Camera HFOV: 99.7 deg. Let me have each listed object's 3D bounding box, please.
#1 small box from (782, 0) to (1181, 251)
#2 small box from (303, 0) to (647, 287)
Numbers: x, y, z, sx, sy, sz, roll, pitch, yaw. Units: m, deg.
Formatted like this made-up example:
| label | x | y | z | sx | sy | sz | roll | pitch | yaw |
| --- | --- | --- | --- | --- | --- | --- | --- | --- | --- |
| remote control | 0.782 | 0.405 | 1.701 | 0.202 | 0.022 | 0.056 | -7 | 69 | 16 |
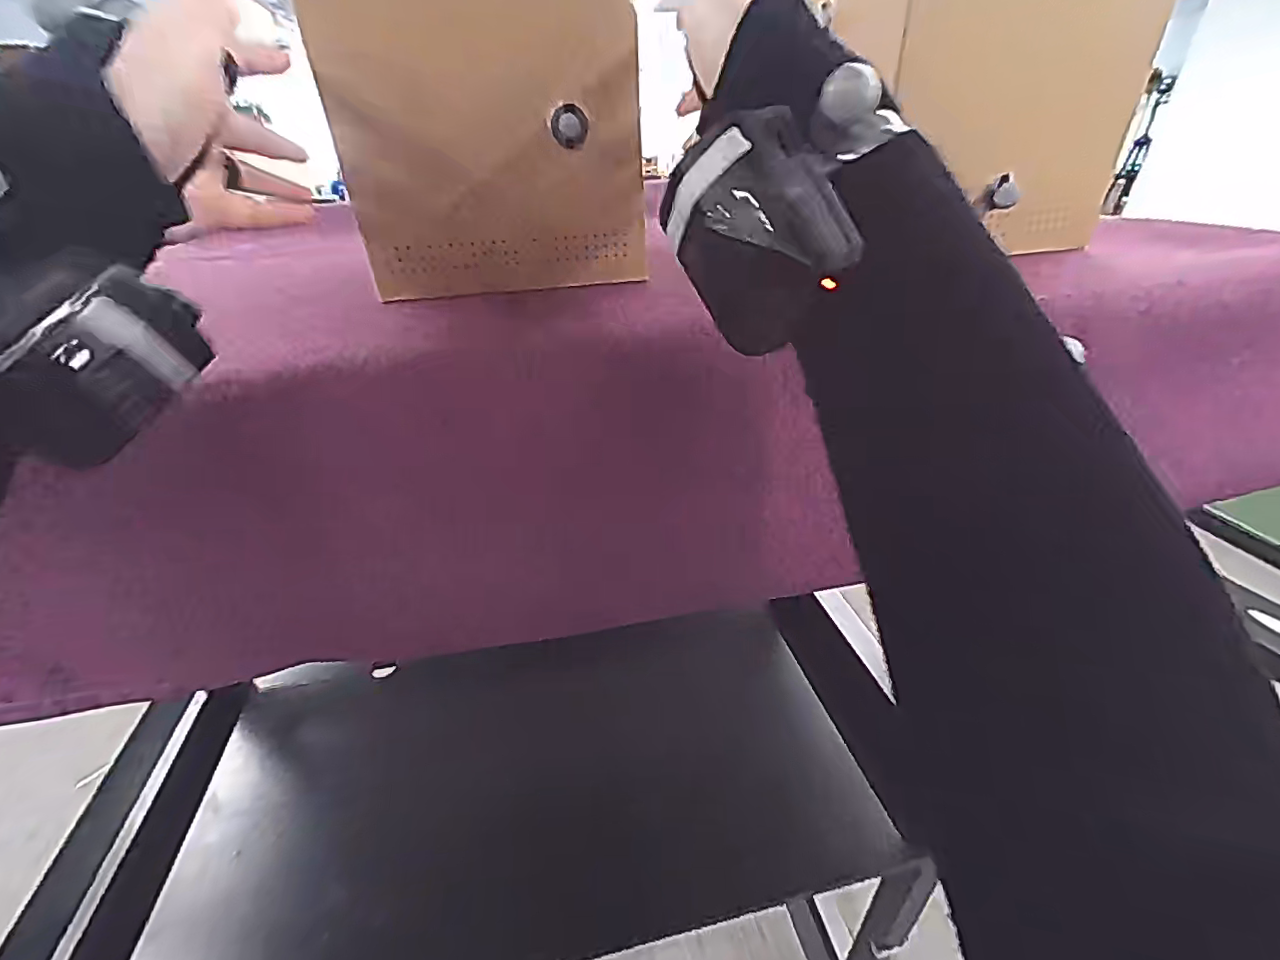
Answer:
| label | x | y | z | sx | sy | sz | roll | pitch | yaw |
| --- | --- | --- | --- | --- | --- | --- | --- | --- | --- |
| small box | 0.221 | -0.273 | 0.396 | 0.179 | 0.176 | 0.168 | -7 | 32 | -7 |
| small box | -0.093 | -0.240 | 0.372 | 0.179 | 0.176 | 0.168 | -8 | 32 | -7 |
